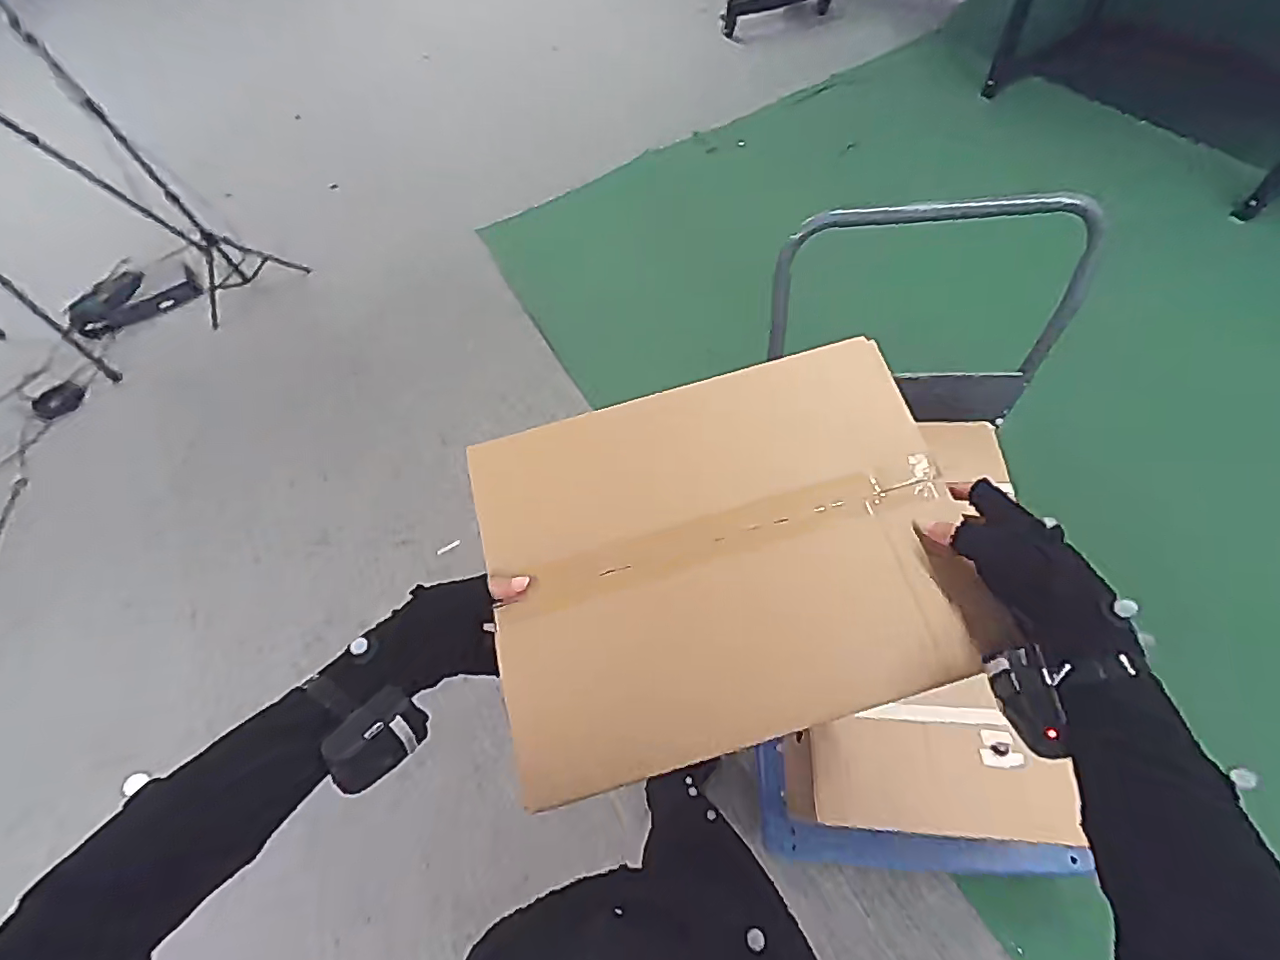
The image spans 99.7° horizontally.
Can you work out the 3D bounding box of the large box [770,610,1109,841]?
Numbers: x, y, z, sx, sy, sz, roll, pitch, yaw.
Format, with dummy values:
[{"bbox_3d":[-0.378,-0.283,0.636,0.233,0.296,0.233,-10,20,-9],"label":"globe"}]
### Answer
[{"bbox_3d":[0.457,0.436,0.950,0.408,0.320,0.320,1,58,6],"label":"large box"}]
